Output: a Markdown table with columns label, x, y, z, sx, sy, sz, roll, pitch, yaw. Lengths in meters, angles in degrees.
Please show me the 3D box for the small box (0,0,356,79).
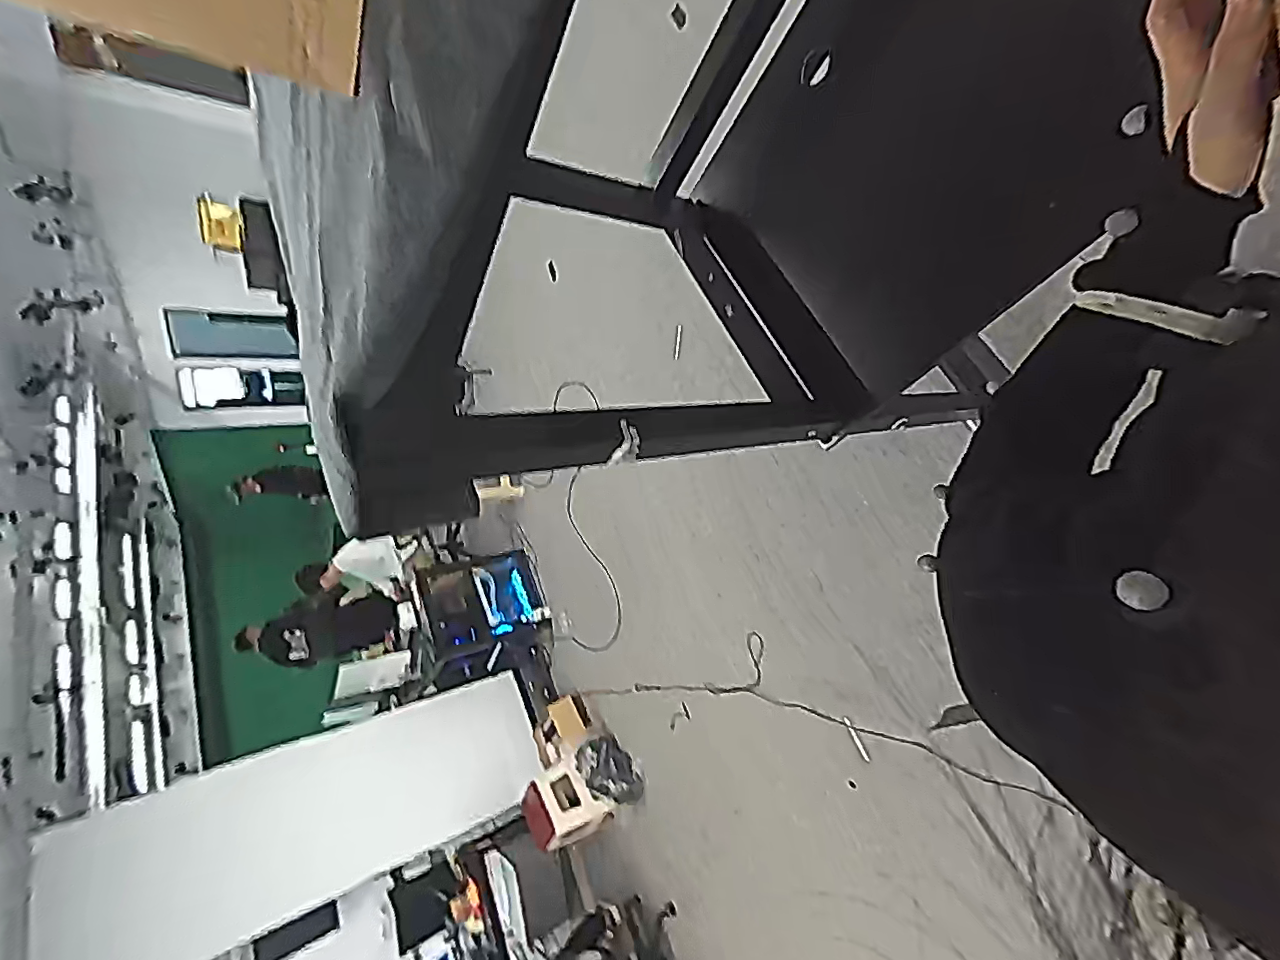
| label | x | y | z | sx | sy | sz | roll | pitch | yaw |
| --- | --- | --- | --- | --- | --- | --- | --- | --- | --- |
| small box | -0.210 | -0.306 | 0.217 | 0.168 | 0.176 | 0.179 | -45 | 59 | 47 |
